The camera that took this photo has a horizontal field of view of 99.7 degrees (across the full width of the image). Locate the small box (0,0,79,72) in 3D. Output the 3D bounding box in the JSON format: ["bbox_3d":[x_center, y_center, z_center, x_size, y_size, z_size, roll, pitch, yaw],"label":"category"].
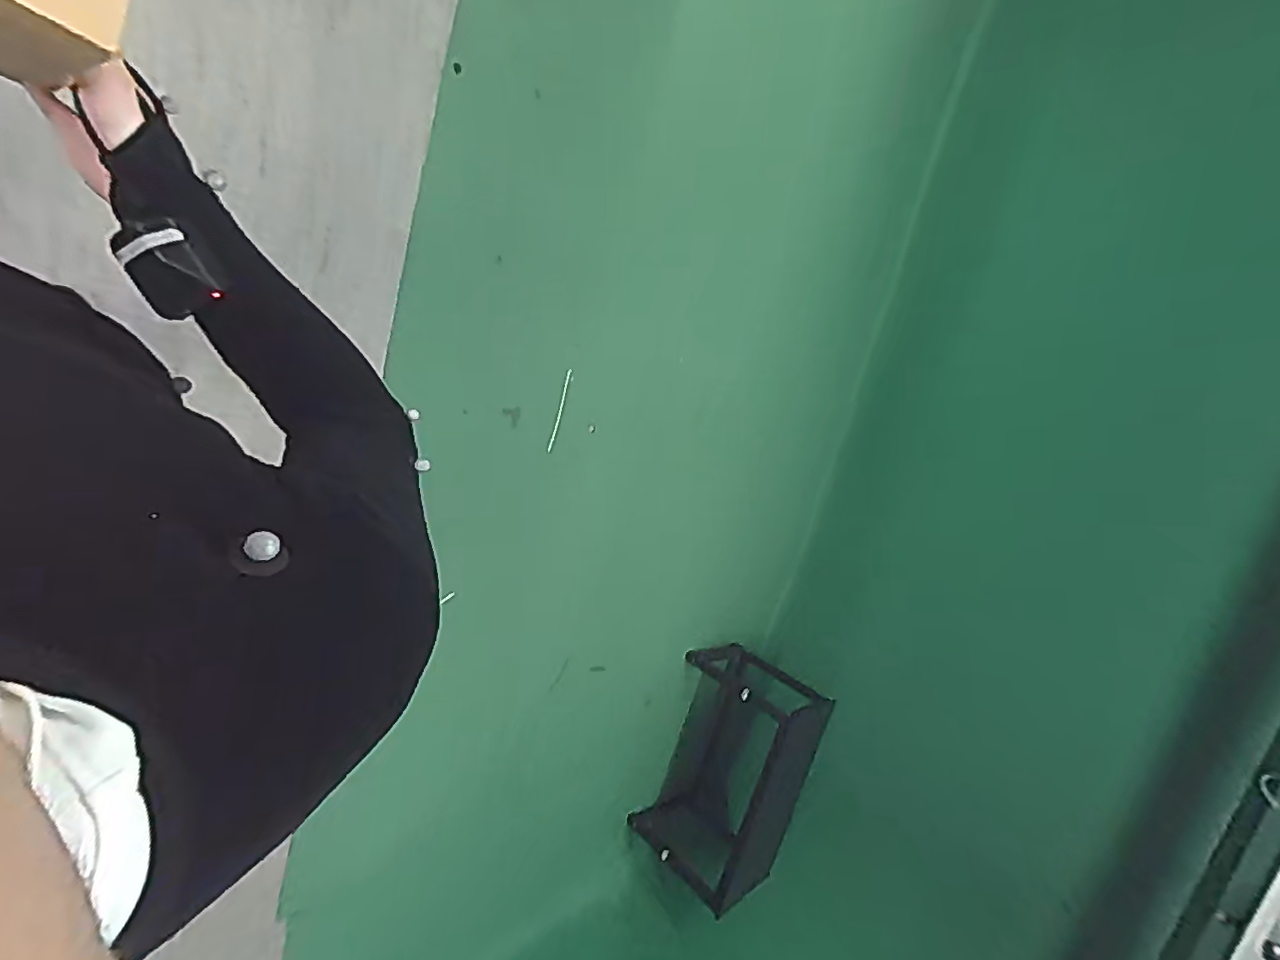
[{"bbox_3d":[-0.420,-0.365,0.297,0.168,0.176,0.179,10,104,-53],"label":"small box"}]
